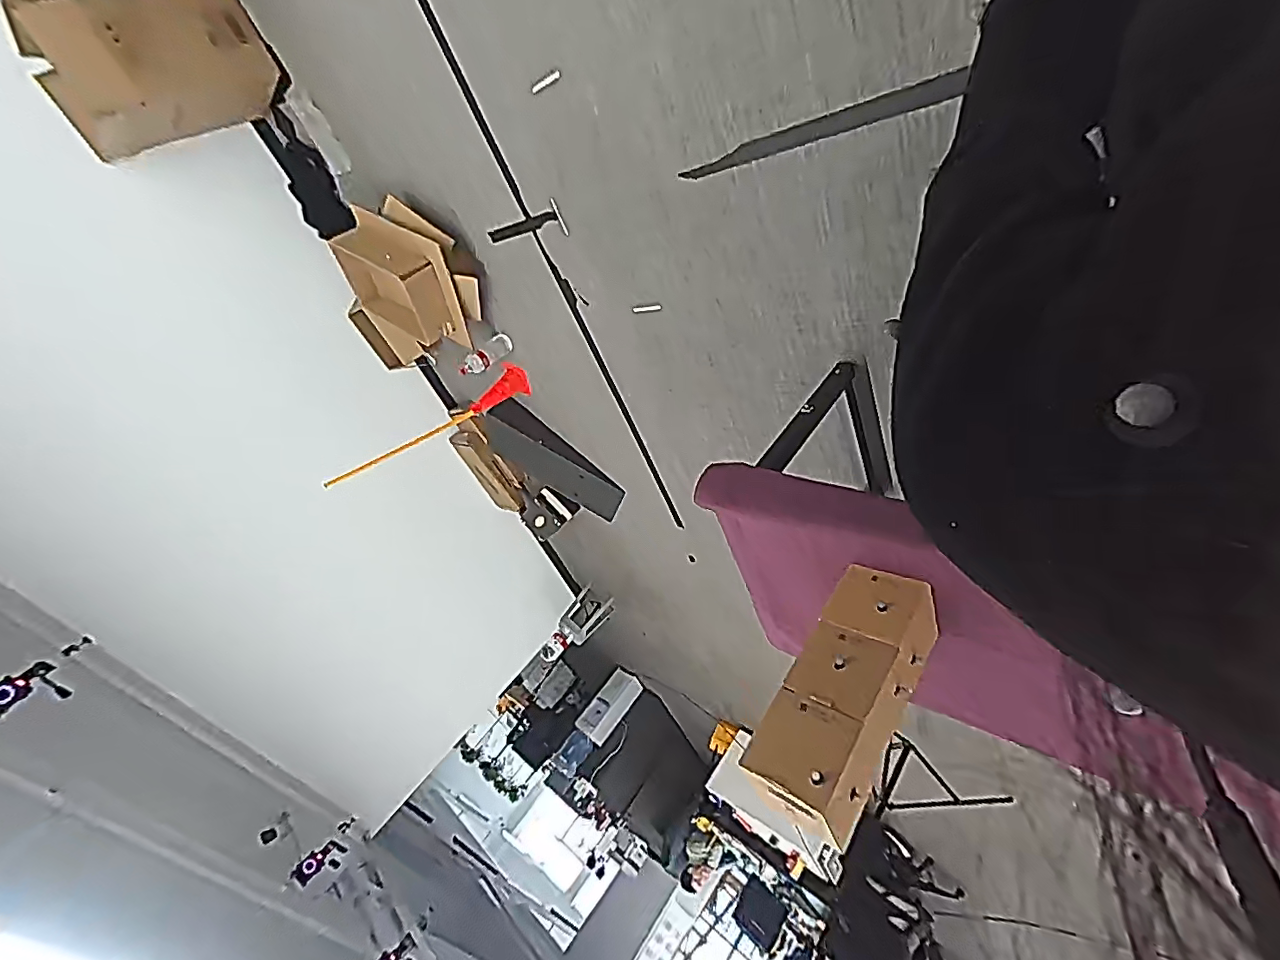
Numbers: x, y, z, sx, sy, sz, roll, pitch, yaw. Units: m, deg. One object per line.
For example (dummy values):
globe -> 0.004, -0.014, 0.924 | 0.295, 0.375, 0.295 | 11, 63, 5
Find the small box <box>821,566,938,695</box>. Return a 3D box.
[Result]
small box -> 0.510, 0.308, 1.142 | 0.168, 0.176, 0.179 | 11, 138, 45

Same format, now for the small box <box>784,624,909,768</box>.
small box -> 0.412, 0.416, 1.067 | 0.168, 0.176, 0.179 | 12, 138, 44
